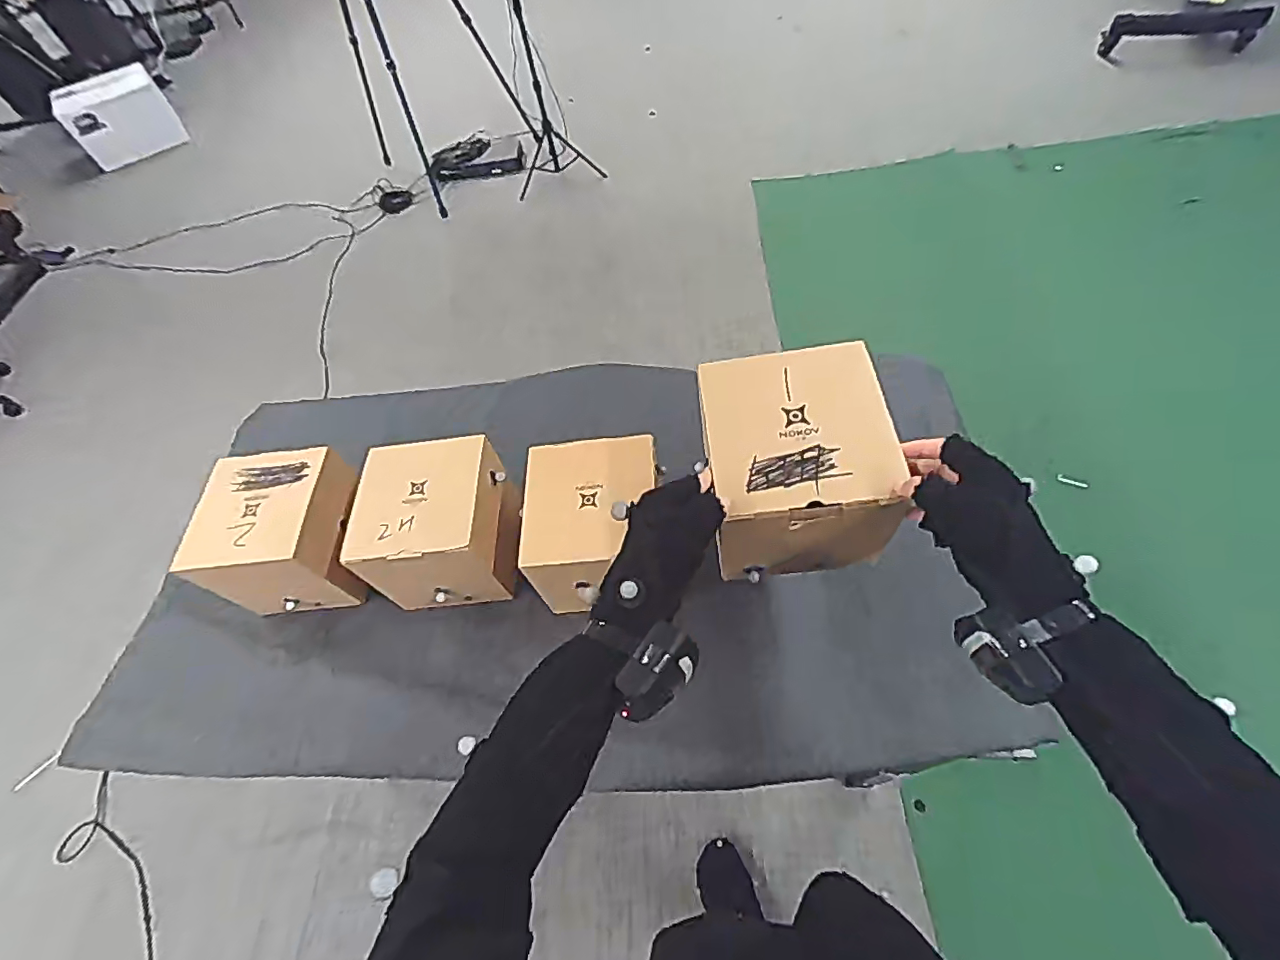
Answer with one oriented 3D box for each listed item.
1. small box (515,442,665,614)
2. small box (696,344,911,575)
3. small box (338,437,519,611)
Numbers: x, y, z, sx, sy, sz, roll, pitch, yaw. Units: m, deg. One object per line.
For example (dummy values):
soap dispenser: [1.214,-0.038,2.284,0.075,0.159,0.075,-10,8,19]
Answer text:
small box: [-0.055,0.071,0.720,0.168,0.176,0.179,-4,56,4]
small box: [0.153,-0.009,0.561,0.168,0.176,0.179,-7,59,6]
small box: [-0.275,0.065,0.752,0.168,0.176,0.179,-7,56,5]
